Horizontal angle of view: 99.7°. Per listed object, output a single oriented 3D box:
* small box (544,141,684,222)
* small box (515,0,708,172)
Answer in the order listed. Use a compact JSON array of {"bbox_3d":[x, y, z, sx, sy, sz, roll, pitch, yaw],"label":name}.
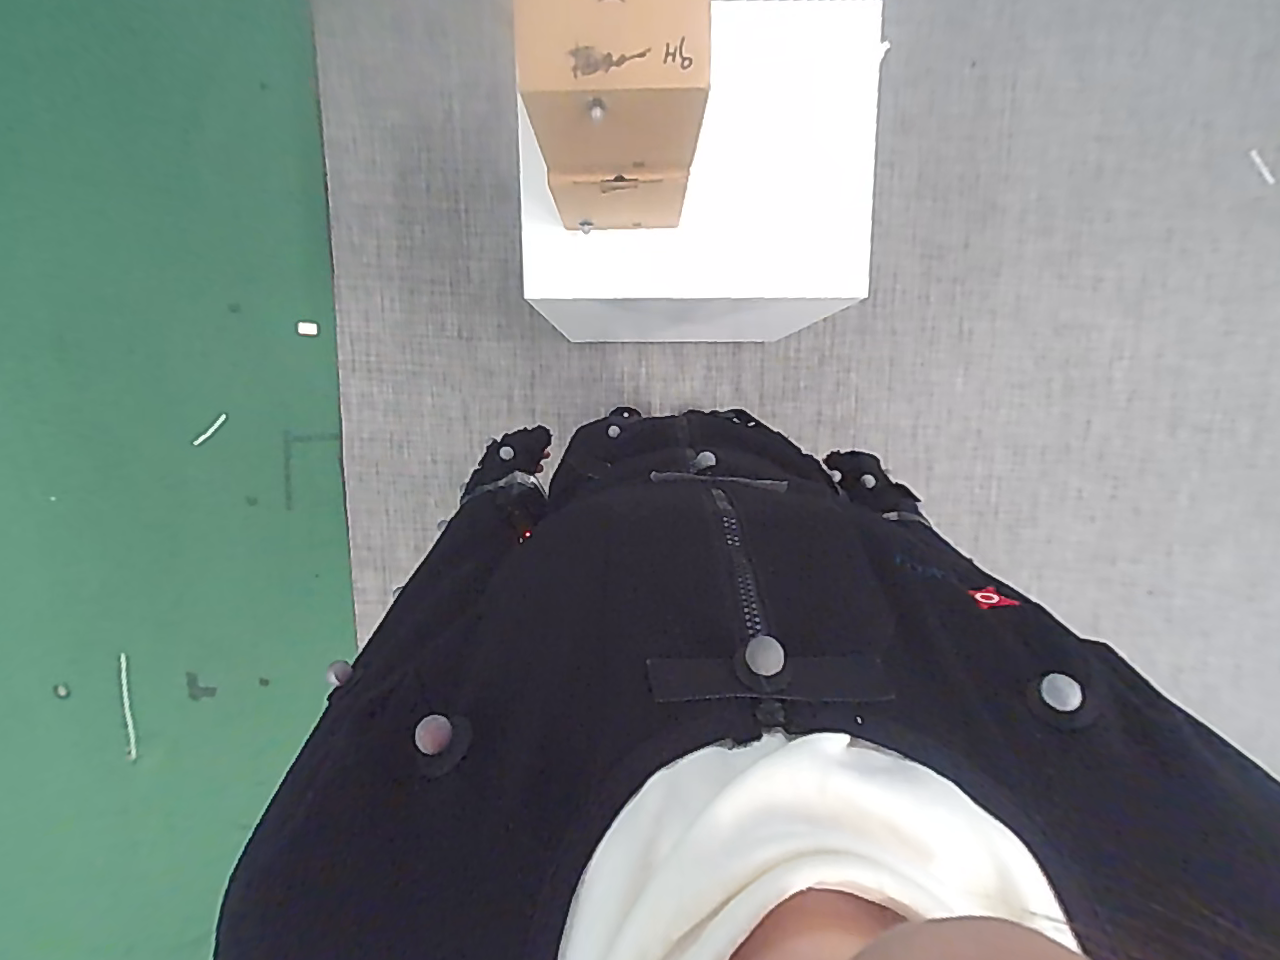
[{"bbox_3d":[-0.029,-0.444,0.694,0.168,0.176,0.179,-1,97,0],"label":"small box"},{"bbox_3d":[-0.025,-0.432,0.531,0.168,0.176,0.179,-1,97,0],"label":"small box"}]
